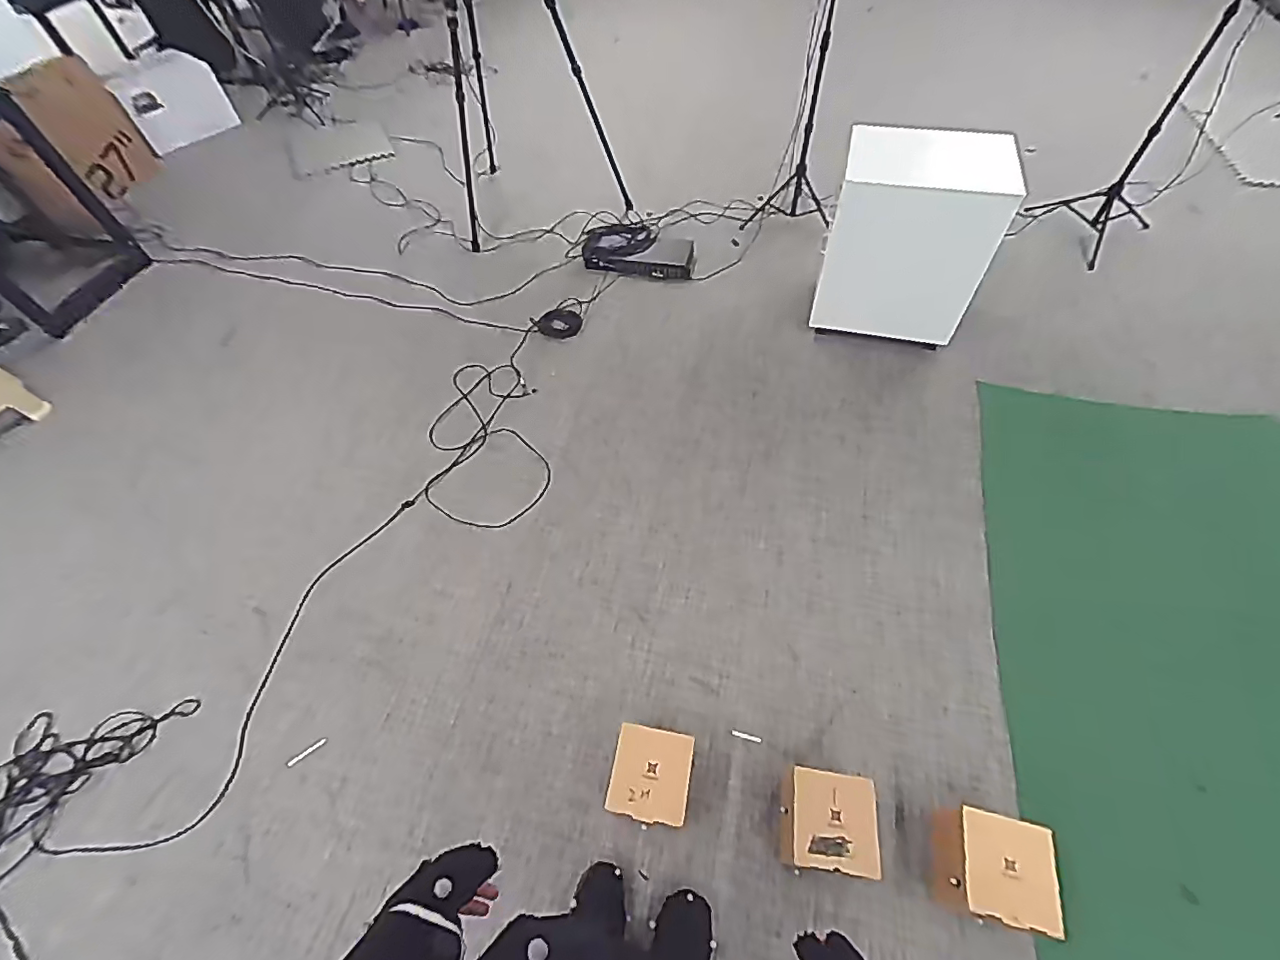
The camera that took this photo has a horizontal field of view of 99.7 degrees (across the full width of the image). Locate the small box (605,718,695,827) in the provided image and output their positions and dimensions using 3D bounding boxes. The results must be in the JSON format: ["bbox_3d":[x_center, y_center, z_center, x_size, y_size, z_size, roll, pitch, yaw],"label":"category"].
[{"bbox_3d":[0.027,0.660,1.216,0.168,0.176,0.179,8,57,10],"label":"small box"}]

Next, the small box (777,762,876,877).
[{"bbox_3d":[0.391,0.726,1.156,0.168,0.176,0.179,7,55,7],"label":"small box"}]

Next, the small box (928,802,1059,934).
[{"bbox_3d":[0.705,0.784,1.104,0.168,0.176,0.179,11,57,11],"label":"small box"}]
